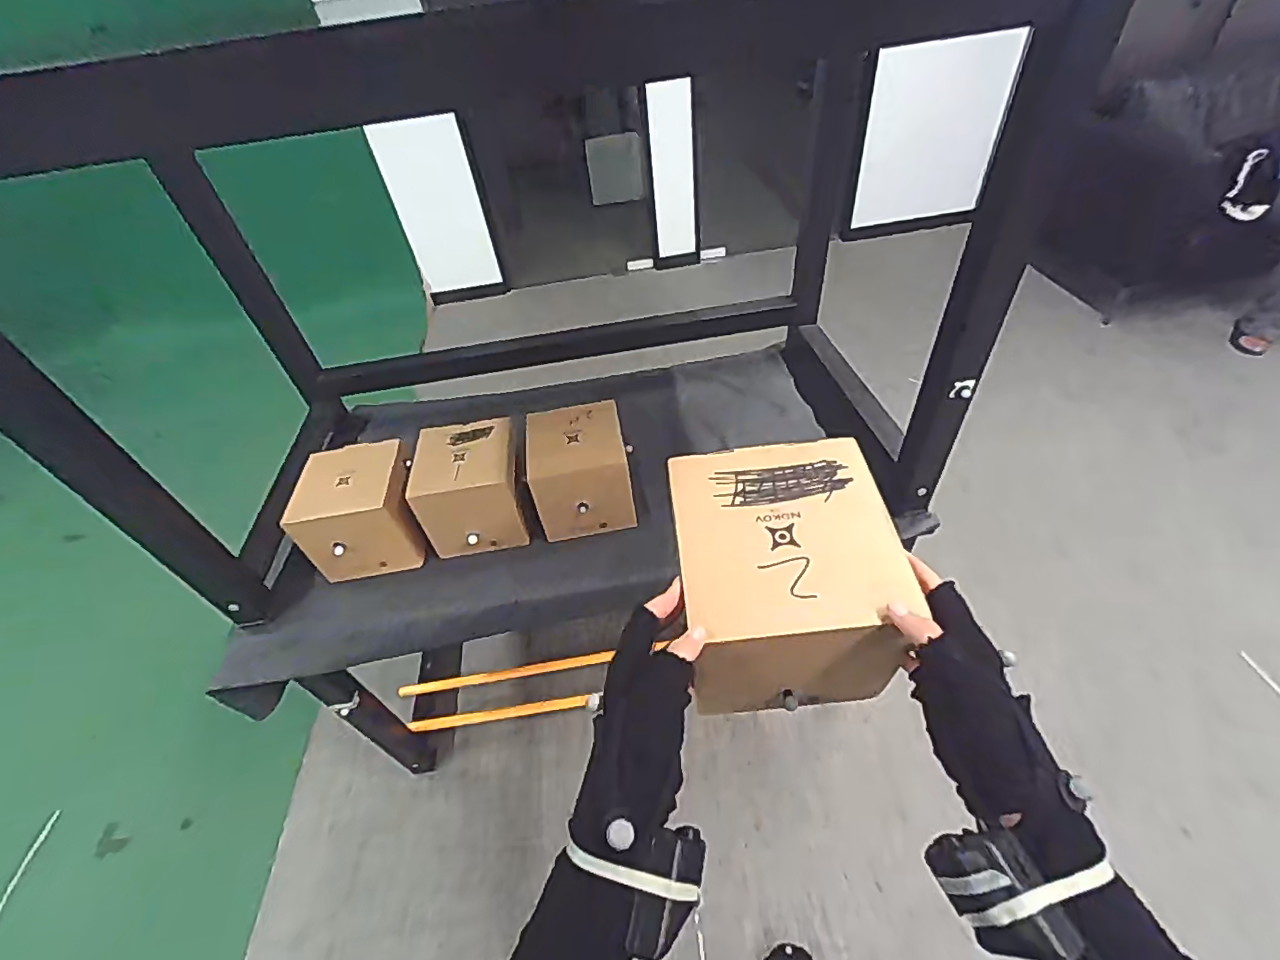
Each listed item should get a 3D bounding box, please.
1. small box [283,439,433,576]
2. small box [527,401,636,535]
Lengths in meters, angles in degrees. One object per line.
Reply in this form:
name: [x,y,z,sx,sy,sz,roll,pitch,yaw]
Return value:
small box: [-0.488,0.056,0.969,0.168,0.176,0.179,-10,44,-2]
small box: [-0.104,-0.016,0.985,0.168,0.176,0.179,-10,44,-2]
